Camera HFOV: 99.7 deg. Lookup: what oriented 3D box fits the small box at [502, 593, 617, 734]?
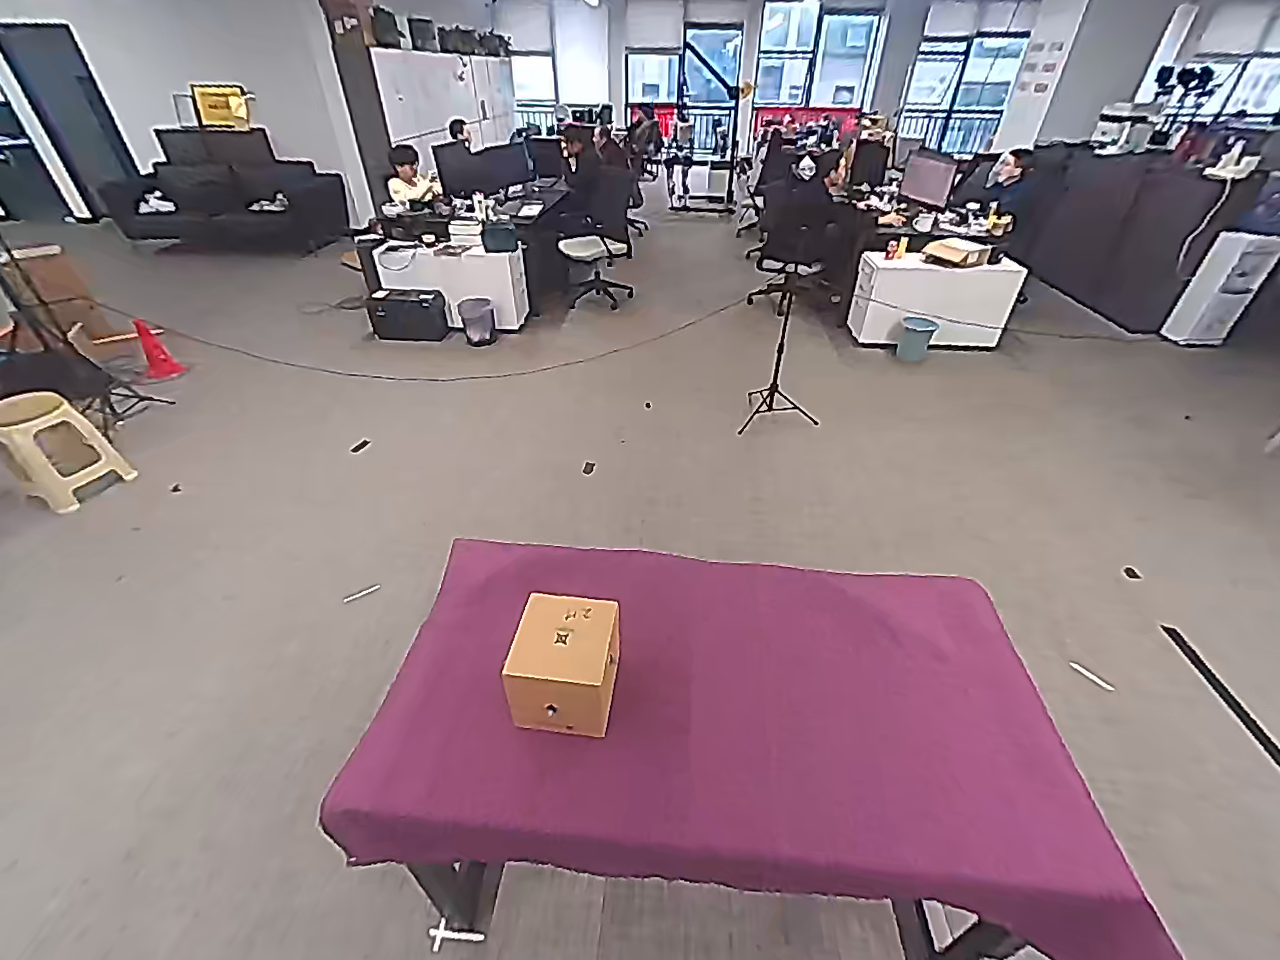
[{"bbox_3d":[-0.134,0.333,0.982,0.168,0.176,0.179,6,37,5],"label":"small box"}]
